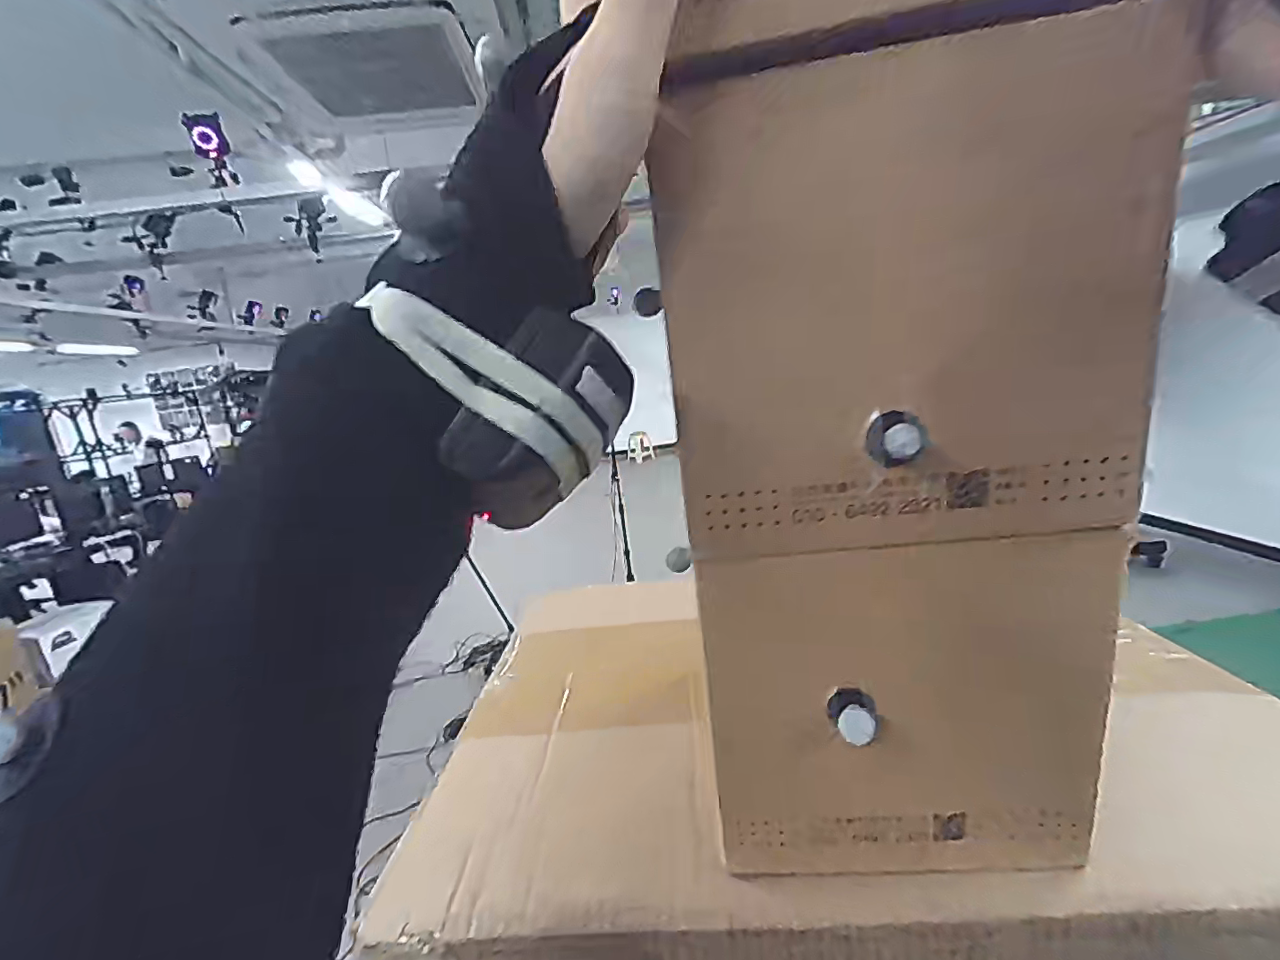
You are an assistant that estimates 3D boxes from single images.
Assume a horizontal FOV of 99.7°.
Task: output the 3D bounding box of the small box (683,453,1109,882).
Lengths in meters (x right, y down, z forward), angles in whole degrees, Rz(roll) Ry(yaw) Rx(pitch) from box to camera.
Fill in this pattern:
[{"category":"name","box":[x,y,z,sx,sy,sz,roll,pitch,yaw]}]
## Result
[{"category":"small box","box":[0.117,0.092,0.312,0.168,0.176,0.179,-6,14,6]}]
